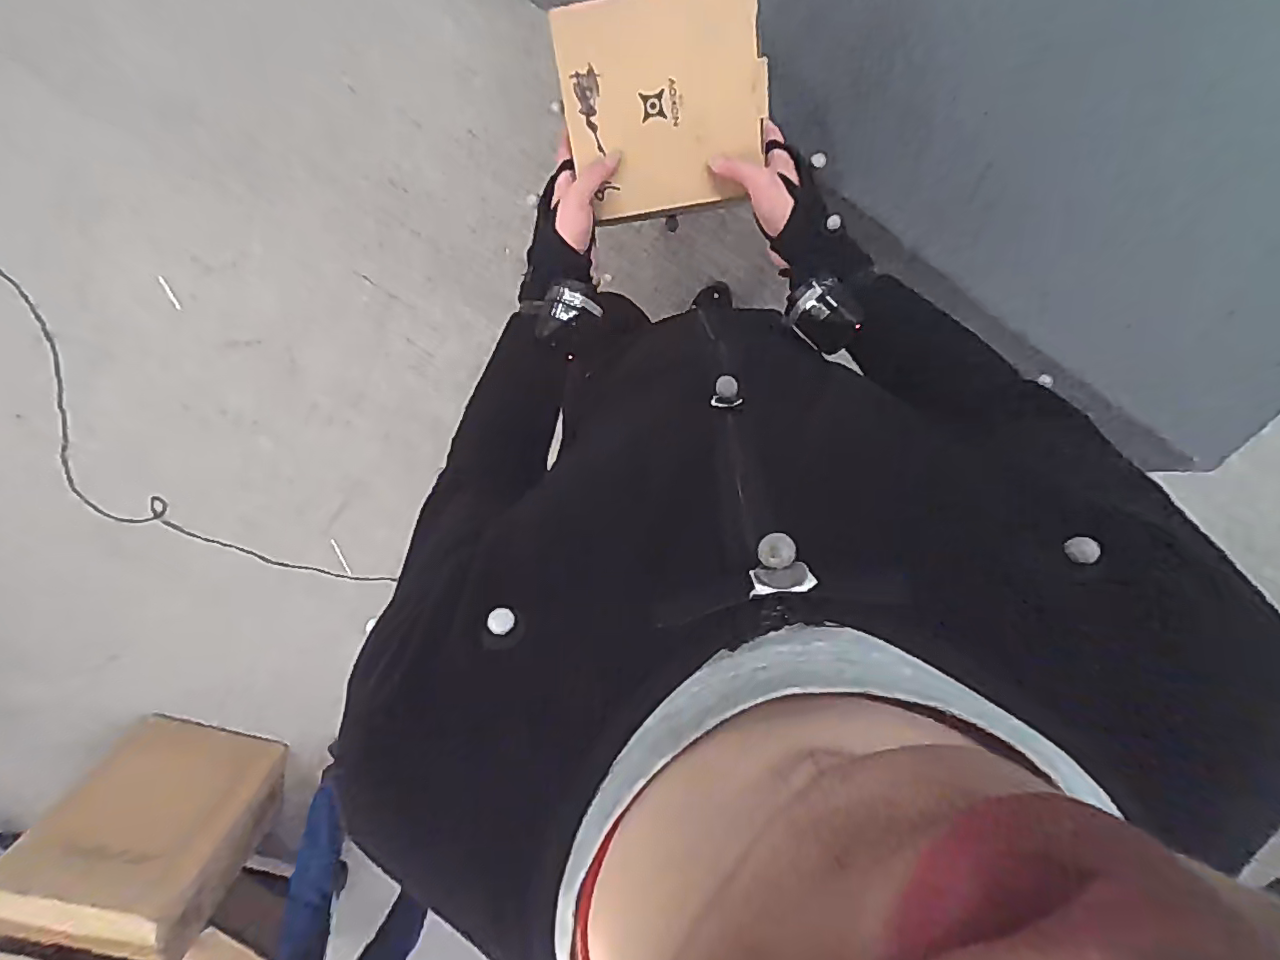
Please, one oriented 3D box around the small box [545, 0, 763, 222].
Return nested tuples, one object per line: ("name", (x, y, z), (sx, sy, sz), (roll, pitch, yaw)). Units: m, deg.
("small box", (0.018, -0.360, 0.542), (0.179, 0.176, 0.168), (-7, 114, 4))
